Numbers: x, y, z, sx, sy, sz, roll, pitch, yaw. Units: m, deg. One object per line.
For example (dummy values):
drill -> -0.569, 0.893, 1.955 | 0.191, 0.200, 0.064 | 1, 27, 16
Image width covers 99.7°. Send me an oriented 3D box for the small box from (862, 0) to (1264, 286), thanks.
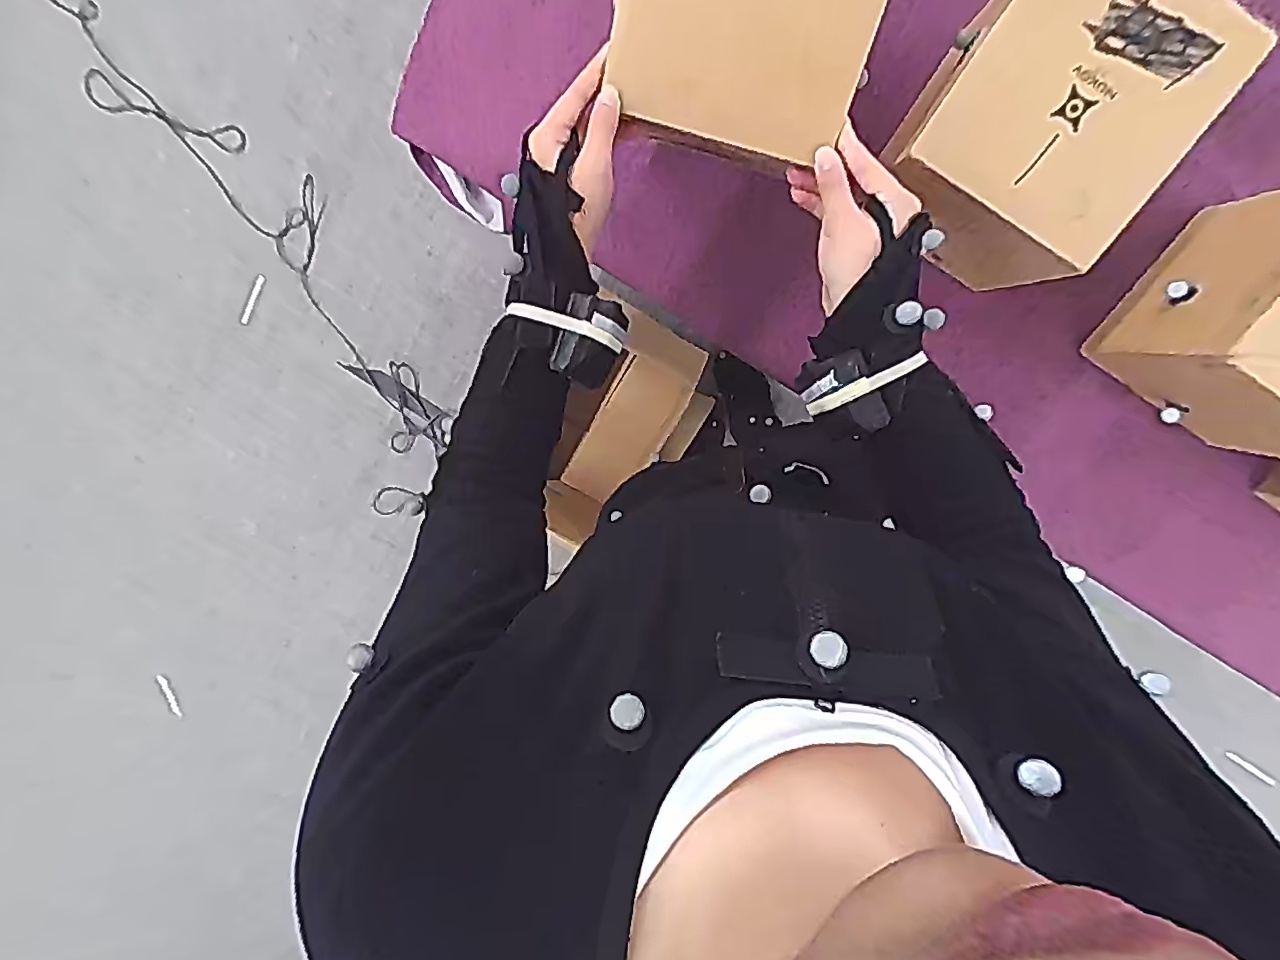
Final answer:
small box -> 0.323, -0.291, 0.463 | 0.168, 0.176, 0.179 | 33, 105, -2
